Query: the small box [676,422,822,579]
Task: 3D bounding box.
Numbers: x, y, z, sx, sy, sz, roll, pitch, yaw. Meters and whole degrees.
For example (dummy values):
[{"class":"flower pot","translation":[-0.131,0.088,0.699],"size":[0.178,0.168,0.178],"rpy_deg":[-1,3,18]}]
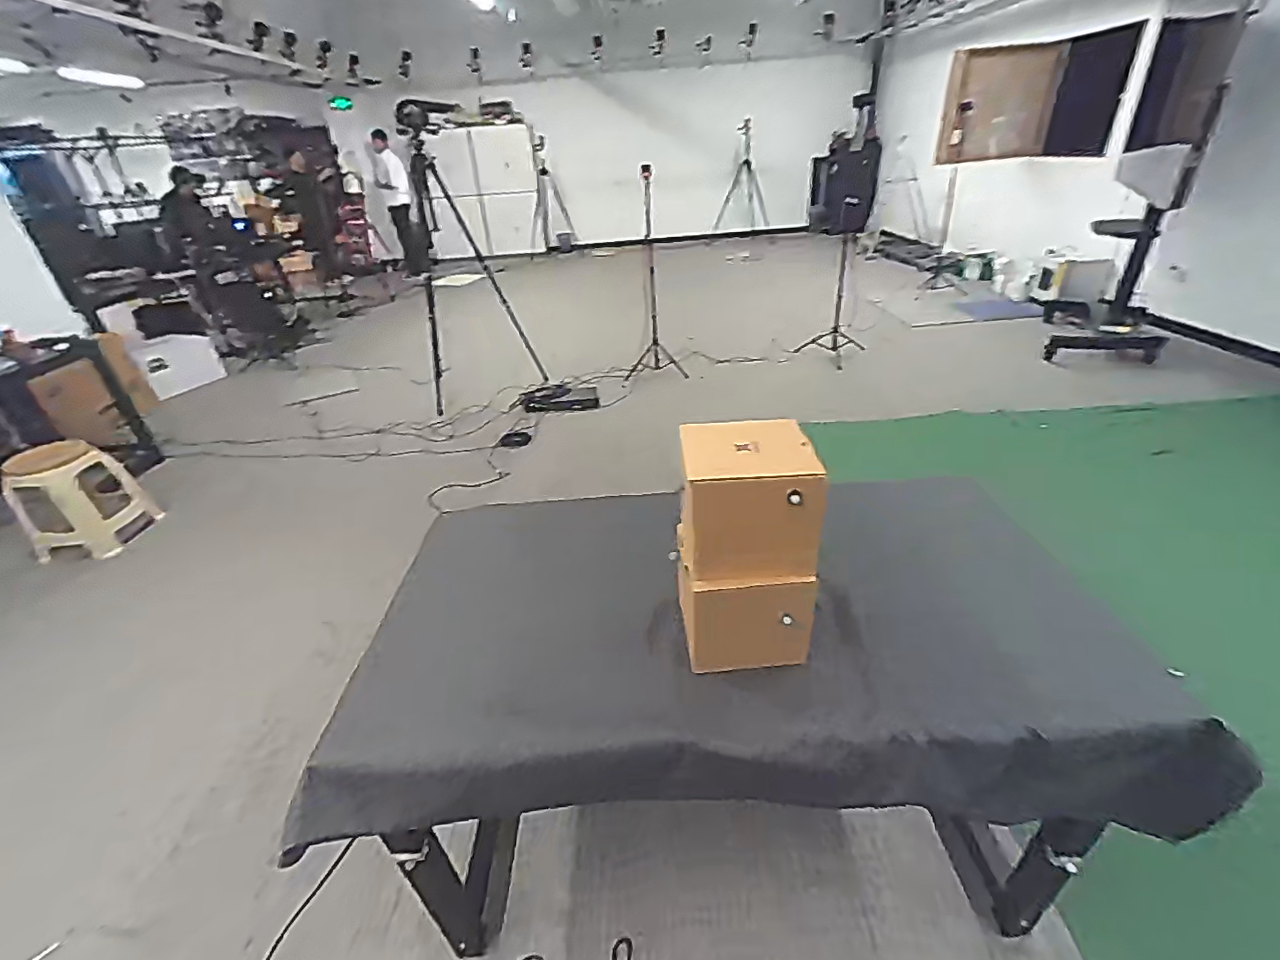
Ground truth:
[{"class":"small box","translation":[0.147,0.029,0.781],"size":[0.179,0.176,0.168],"rpy_deg":[-3,30,1]}]
